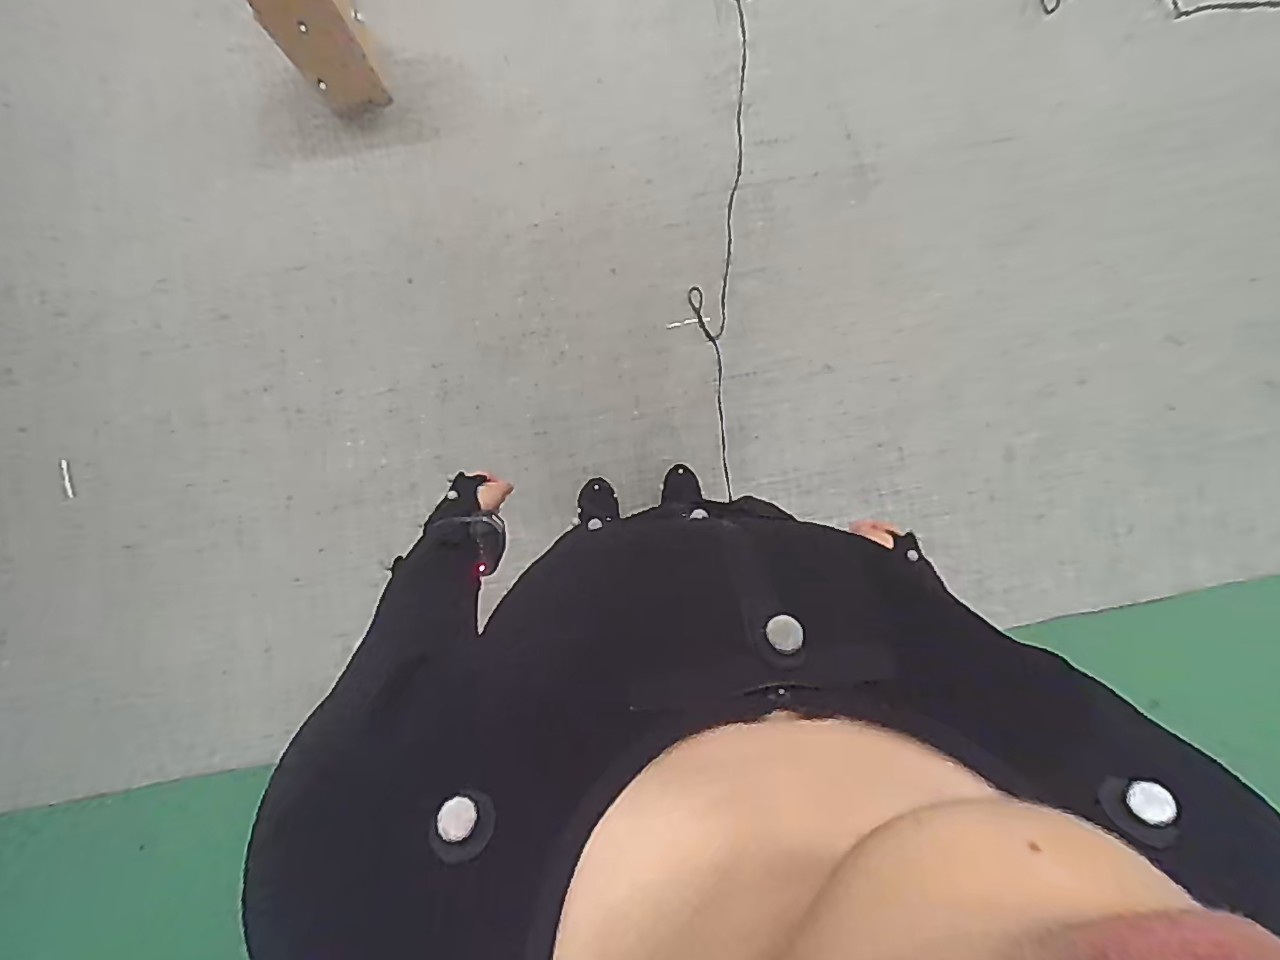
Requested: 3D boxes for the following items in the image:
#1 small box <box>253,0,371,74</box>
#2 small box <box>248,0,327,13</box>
[{"bbox_3d":[-0.750,-1.070,1.229,0.179,0.176,0.168,-12,92,-2],"label":"small box"},{"bbox_3d":[-0.743,-1.076,1.065,0.179,0.176,0.168,-12,91,0],"label":"small box"}]
